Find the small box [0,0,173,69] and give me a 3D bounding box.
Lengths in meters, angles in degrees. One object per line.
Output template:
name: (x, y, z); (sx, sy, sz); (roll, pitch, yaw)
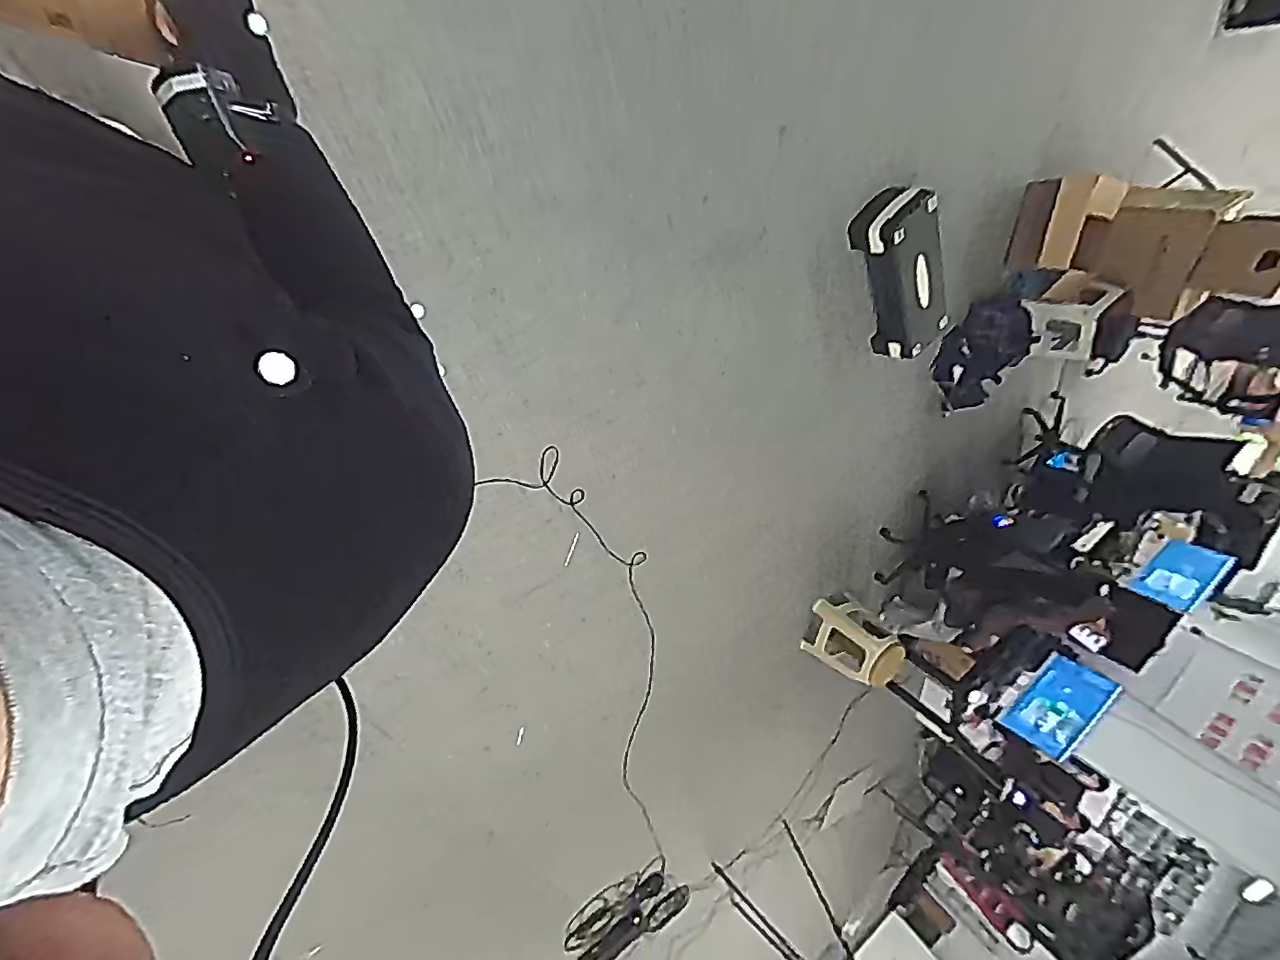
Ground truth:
small box: (-0.411, -0.416, 0.338); (0.168, 0.176, 0.179); (-3, 87, -36)
